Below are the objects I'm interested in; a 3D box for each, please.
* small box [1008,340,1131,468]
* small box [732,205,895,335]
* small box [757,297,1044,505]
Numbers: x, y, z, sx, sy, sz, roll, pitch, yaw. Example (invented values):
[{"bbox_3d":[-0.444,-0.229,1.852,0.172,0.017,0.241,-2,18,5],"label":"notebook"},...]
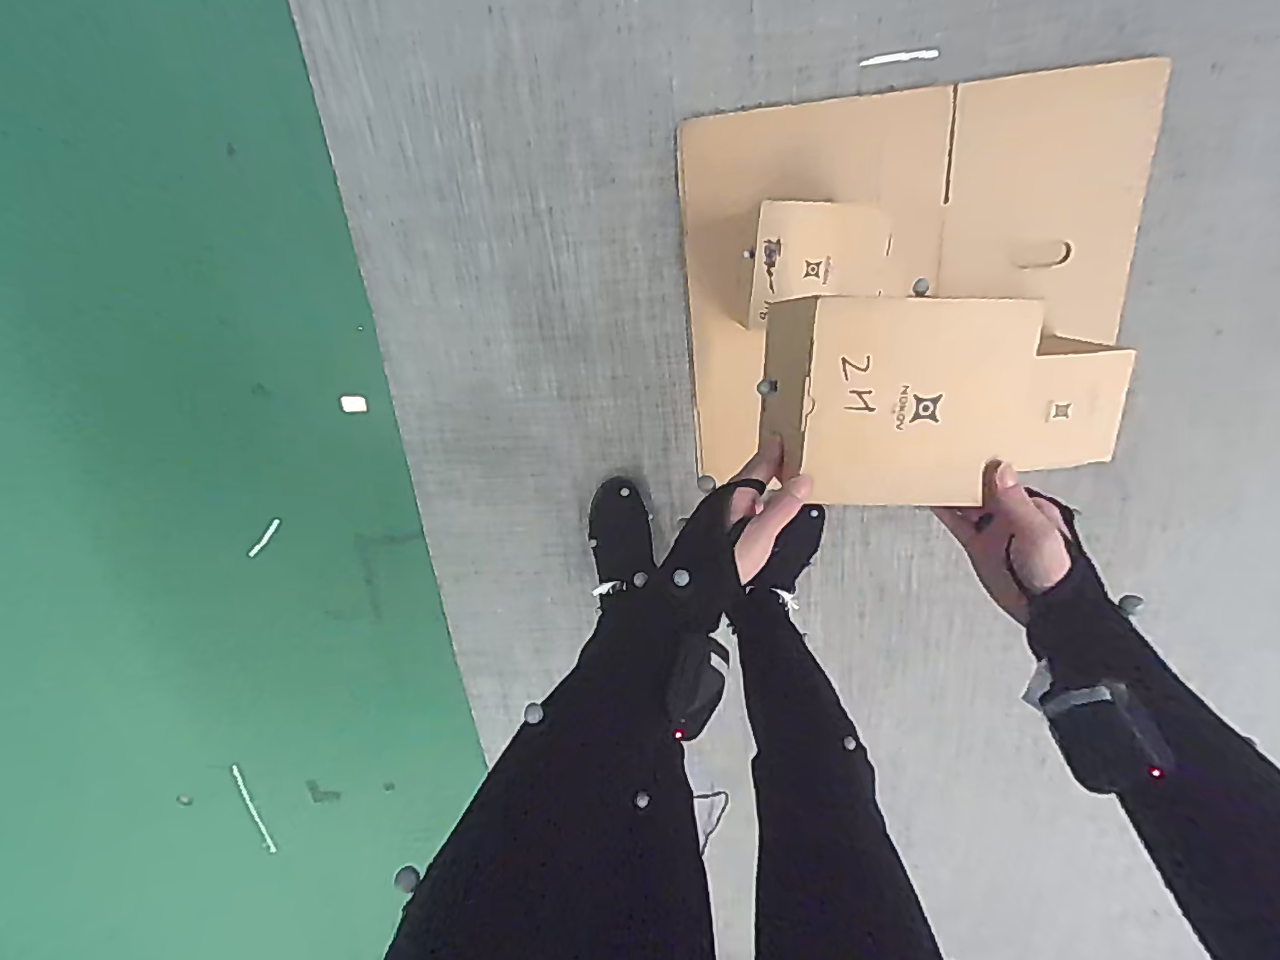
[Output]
[{"bbox_3d":[0.601,-0.125,0.852,0.179,0.176,0.168,-3,111,4],"label":"small box"},{"bbox_3d":[0.241,-0.303,0.799,0.179,0.176,0.168,3,110,1],"label":"small box"},{"bbox_3d":[0.218,-0.081,0.507,0.179,0.176,0.168,1,106,1],"label":"small box"}]
